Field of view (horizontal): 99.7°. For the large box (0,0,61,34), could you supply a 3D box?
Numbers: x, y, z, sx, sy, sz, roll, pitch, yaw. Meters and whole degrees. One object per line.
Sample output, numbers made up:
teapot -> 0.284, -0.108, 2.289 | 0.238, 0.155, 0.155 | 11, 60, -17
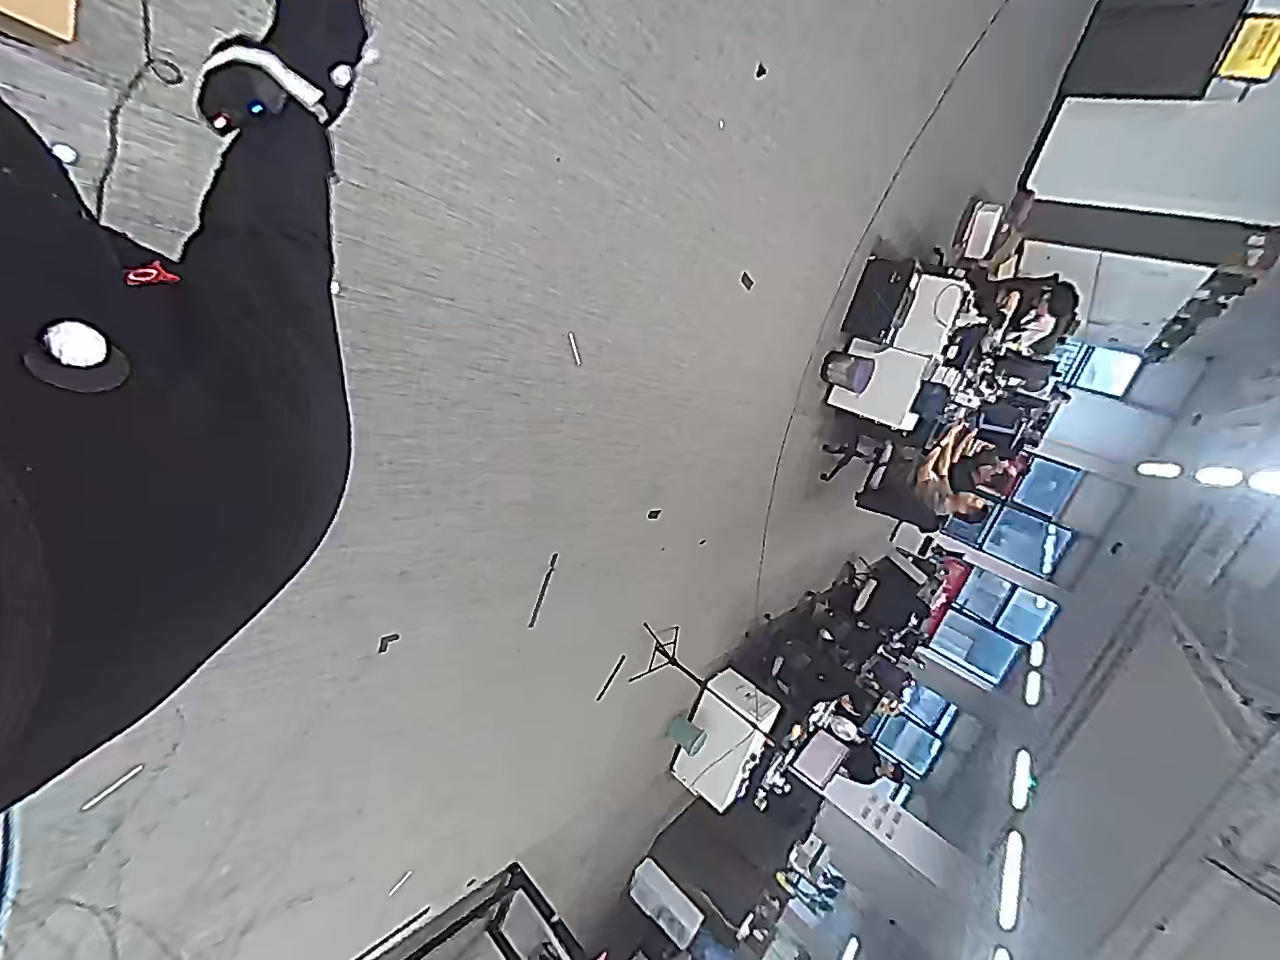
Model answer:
large box -> -0.952, -0.796, 0.607 | 0.408, 0.320, 0.320 | 1, 112, -53
